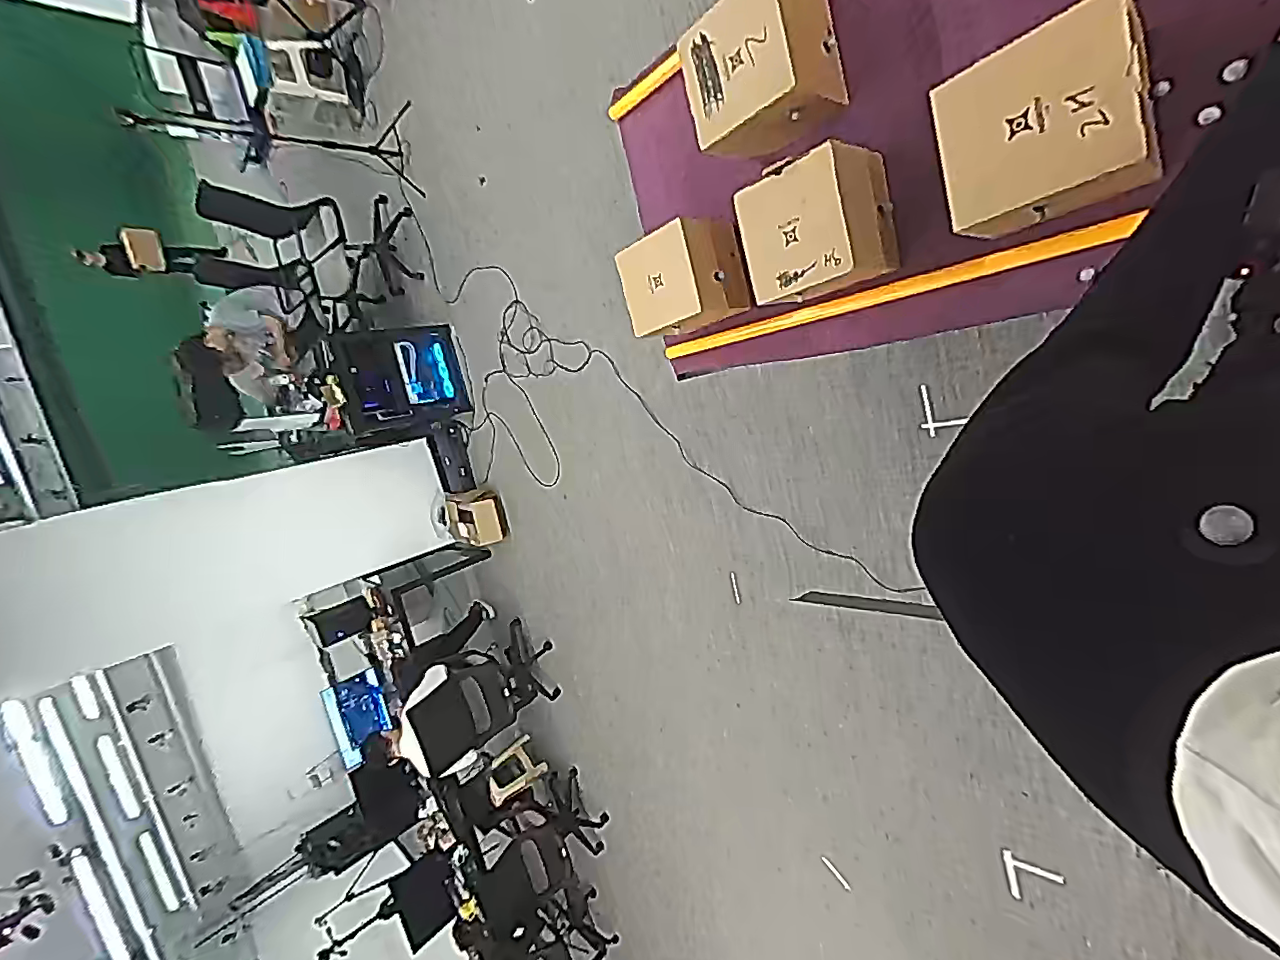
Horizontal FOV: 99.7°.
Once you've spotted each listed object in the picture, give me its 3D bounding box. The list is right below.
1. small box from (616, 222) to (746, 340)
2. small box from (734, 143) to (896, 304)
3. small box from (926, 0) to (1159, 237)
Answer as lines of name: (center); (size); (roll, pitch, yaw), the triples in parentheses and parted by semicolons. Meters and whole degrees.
small box: (0.087, -0.382, 1.049); (0.179, 0.176, 0.168); (-6, 101, 48)
small box: (0.276, -0.384, 0.842); (0.168, 0.176, 0.179); (-4, 102, 49)
small box: (0.465, -0.396, 0.627); (0.179, 0.176, 0.168); (-6, 100, 49)
